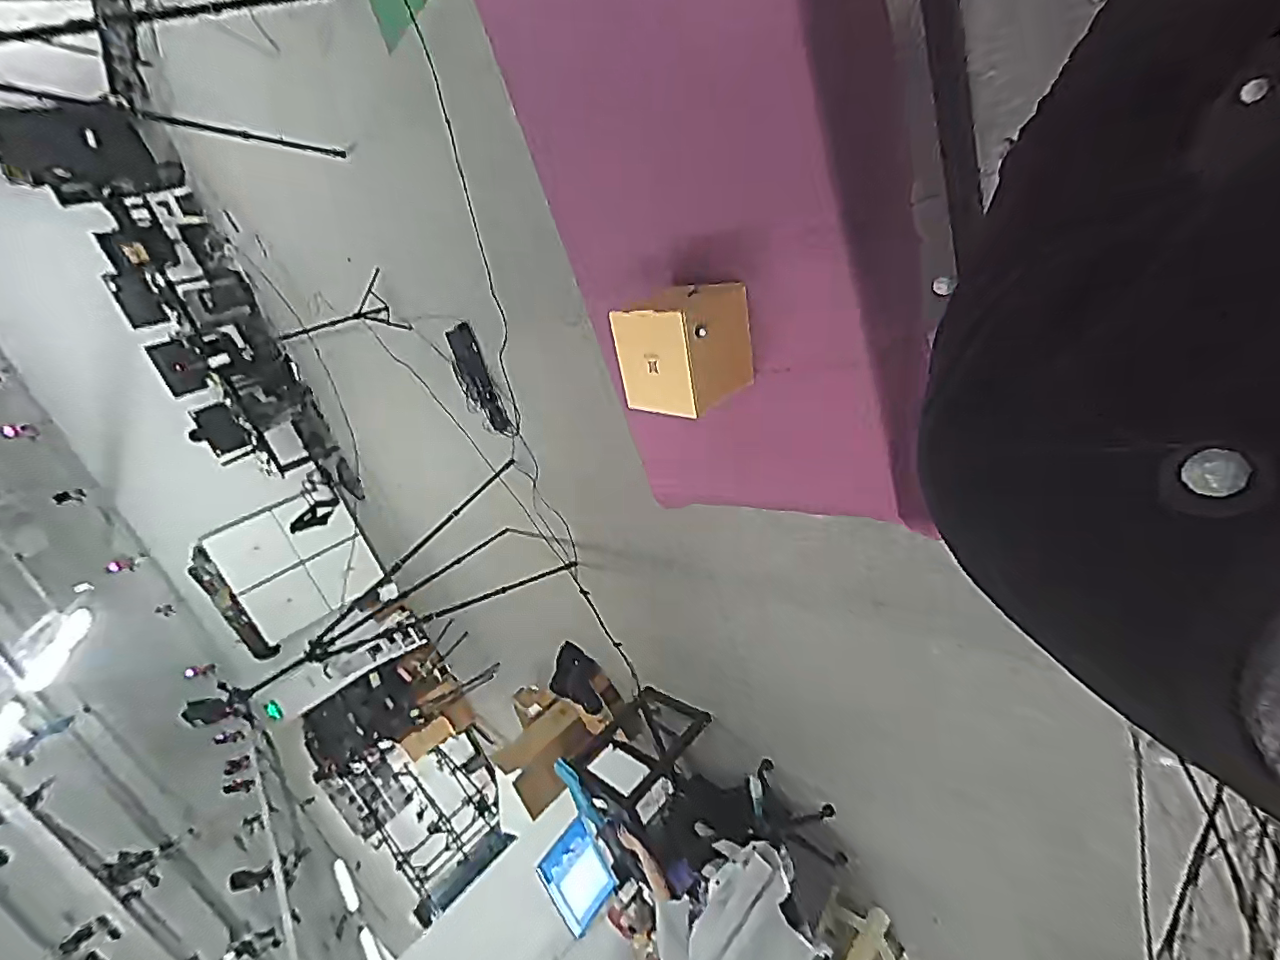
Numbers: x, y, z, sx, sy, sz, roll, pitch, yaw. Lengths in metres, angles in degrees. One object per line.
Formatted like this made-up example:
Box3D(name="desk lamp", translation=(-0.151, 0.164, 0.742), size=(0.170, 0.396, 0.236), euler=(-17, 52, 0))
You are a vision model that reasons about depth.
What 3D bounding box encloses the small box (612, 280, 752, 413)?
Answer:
Box3D(name="small box", translation=(0.080, -0.236, 0.940), size=(0.168, 0.176, 0.179), euler=(16, 127, 43))
